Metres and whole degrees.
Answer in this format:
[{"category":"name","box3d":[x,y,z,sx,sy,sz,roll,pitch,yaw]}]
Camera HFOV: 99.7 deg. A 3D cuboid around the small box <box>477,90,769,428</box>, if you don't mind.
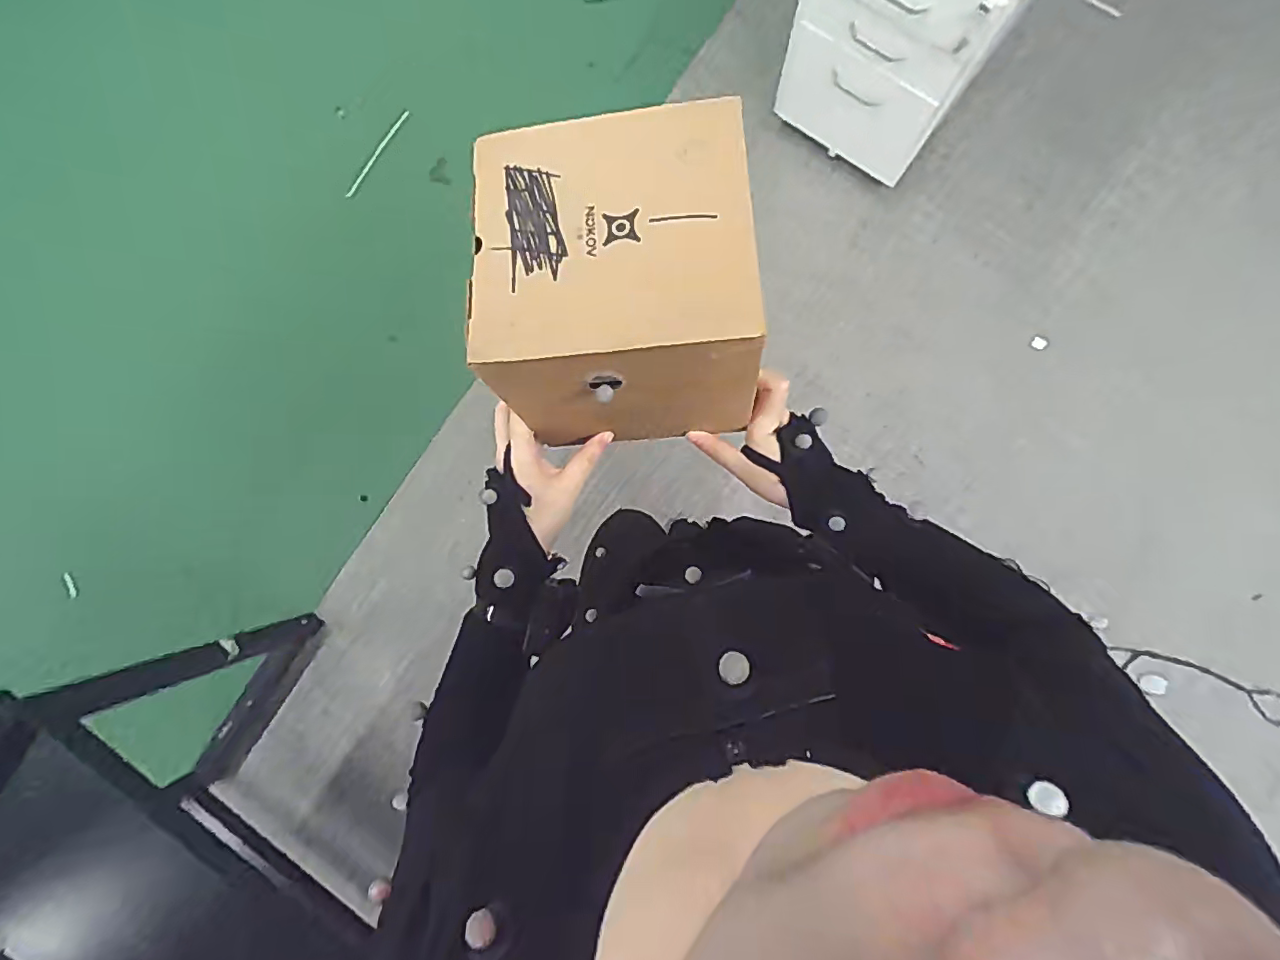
[{"category":"small box","box3d":[-0.003,-0.143,0.409,0.179,0.176,0.168,-3,77,6]}]
